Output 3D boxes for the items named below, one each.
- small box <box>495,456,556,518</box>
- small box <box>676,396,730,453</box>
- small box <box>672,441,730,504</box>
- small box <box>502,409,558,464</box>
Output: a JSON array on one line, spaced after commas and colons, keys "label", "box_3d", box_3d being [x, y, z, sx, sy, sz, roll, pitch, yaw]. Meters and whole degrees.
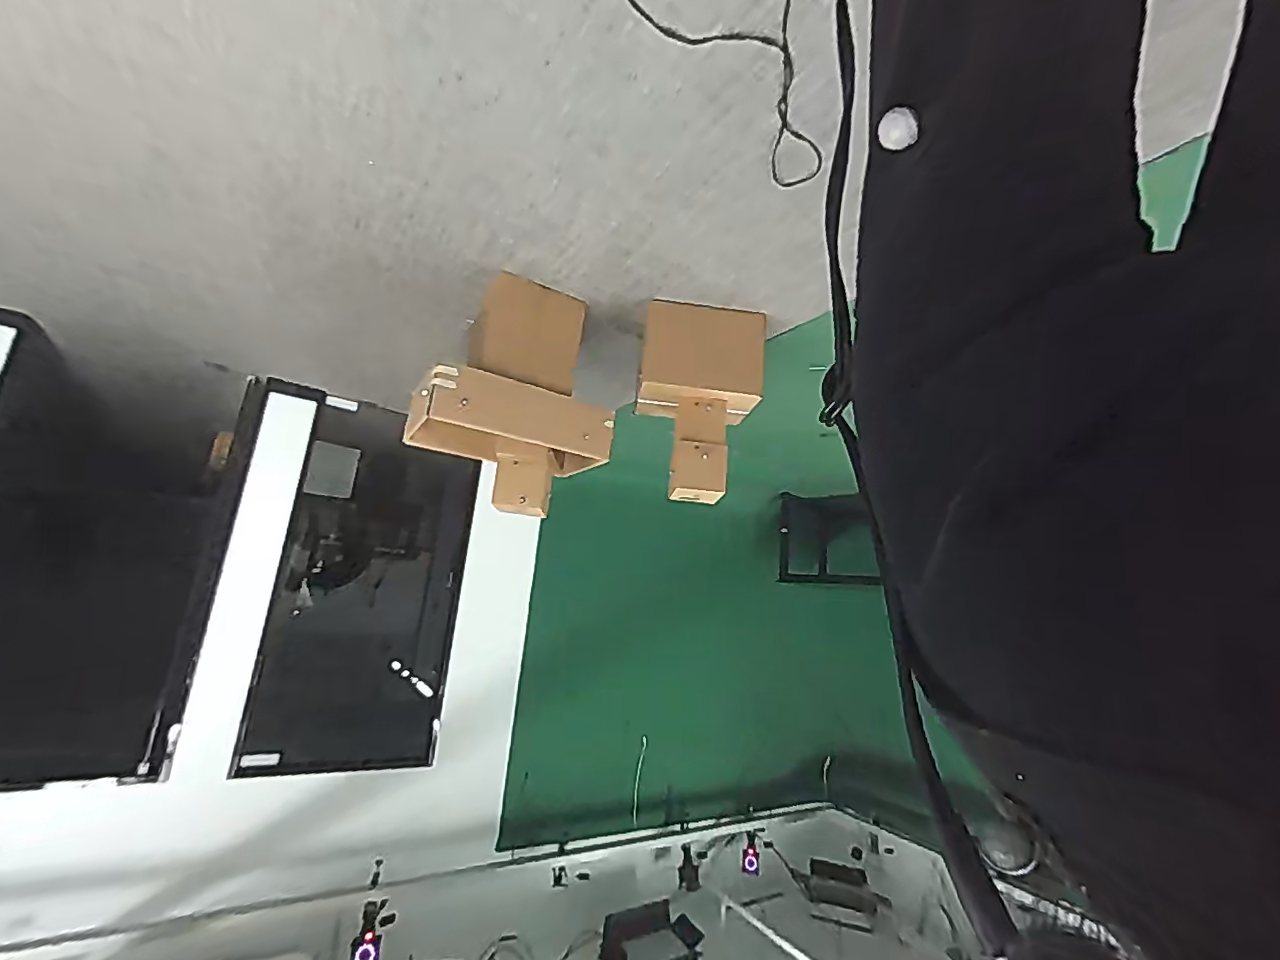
[{"label": "small box", "box_3d": [-0.385, 0.026, 1.853, 0.168, 0.176, 0.179, 6, 167, -2]}, {"label": "small box", "box_3d": [0.222, -0.179, 1.901, 0.168, 0.176, 0.179, 5, 166, 1]}, {"label": "small box", "box_3d": [0.208, -0.023, 1.851, 0.168, 0.176, 0.179, 6, 165, -4]}, {"label": "small box", "box_3d": [-0.380, -0.137, 1.881, 0.168, 0.176, 0.179, 8, 166, -7]}]
